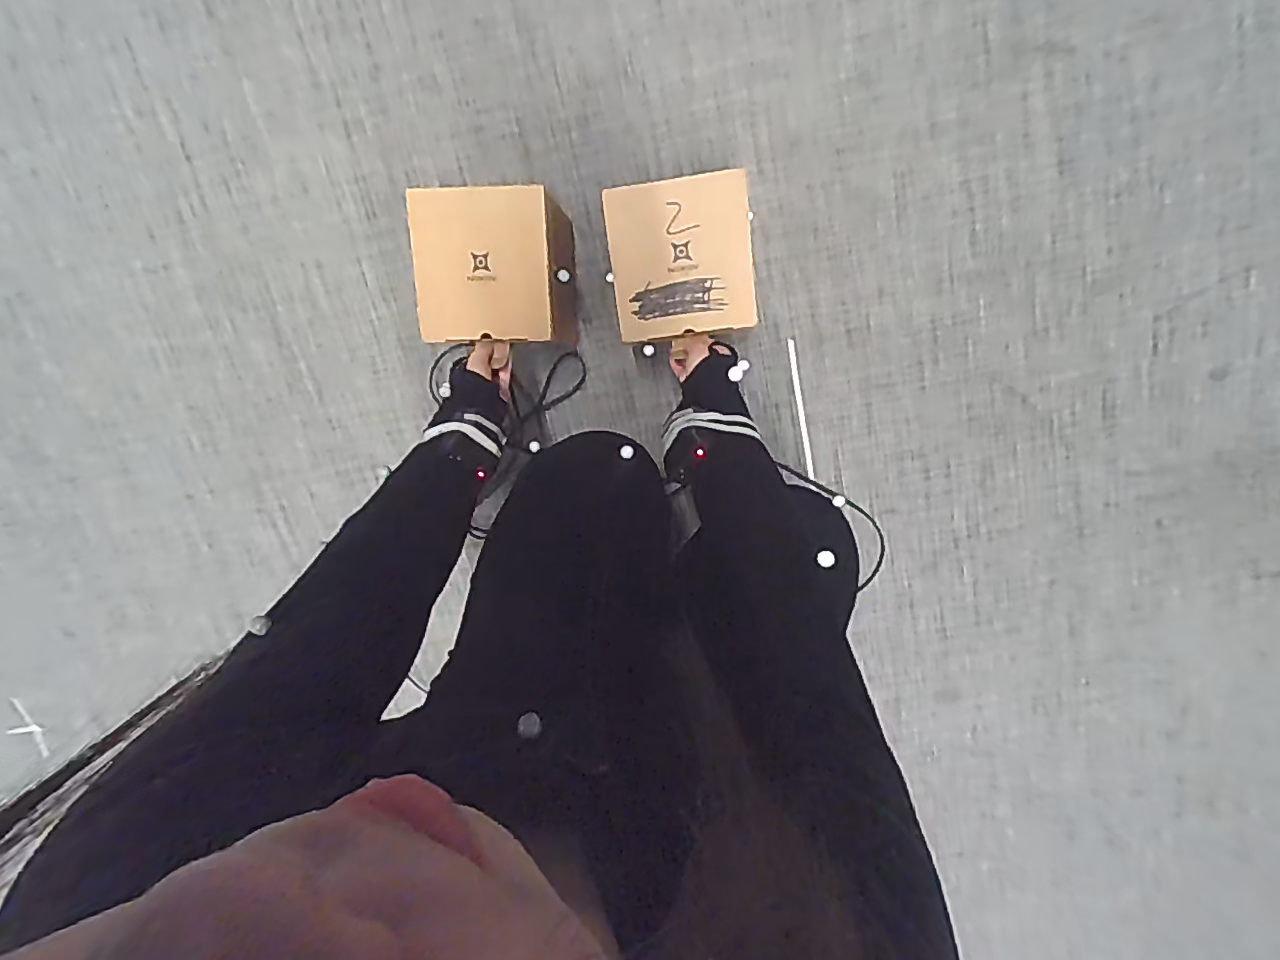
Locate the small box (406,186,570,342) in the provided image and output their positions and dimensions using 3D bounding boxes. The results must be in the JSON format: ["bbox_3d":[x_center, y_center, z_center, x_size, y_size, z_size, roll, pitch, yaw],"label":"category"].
[{"bbox_3d":[-0.190,-0.277,0.726,0.168,0.176,0.179,1,105,3],"label":"small box"}]
